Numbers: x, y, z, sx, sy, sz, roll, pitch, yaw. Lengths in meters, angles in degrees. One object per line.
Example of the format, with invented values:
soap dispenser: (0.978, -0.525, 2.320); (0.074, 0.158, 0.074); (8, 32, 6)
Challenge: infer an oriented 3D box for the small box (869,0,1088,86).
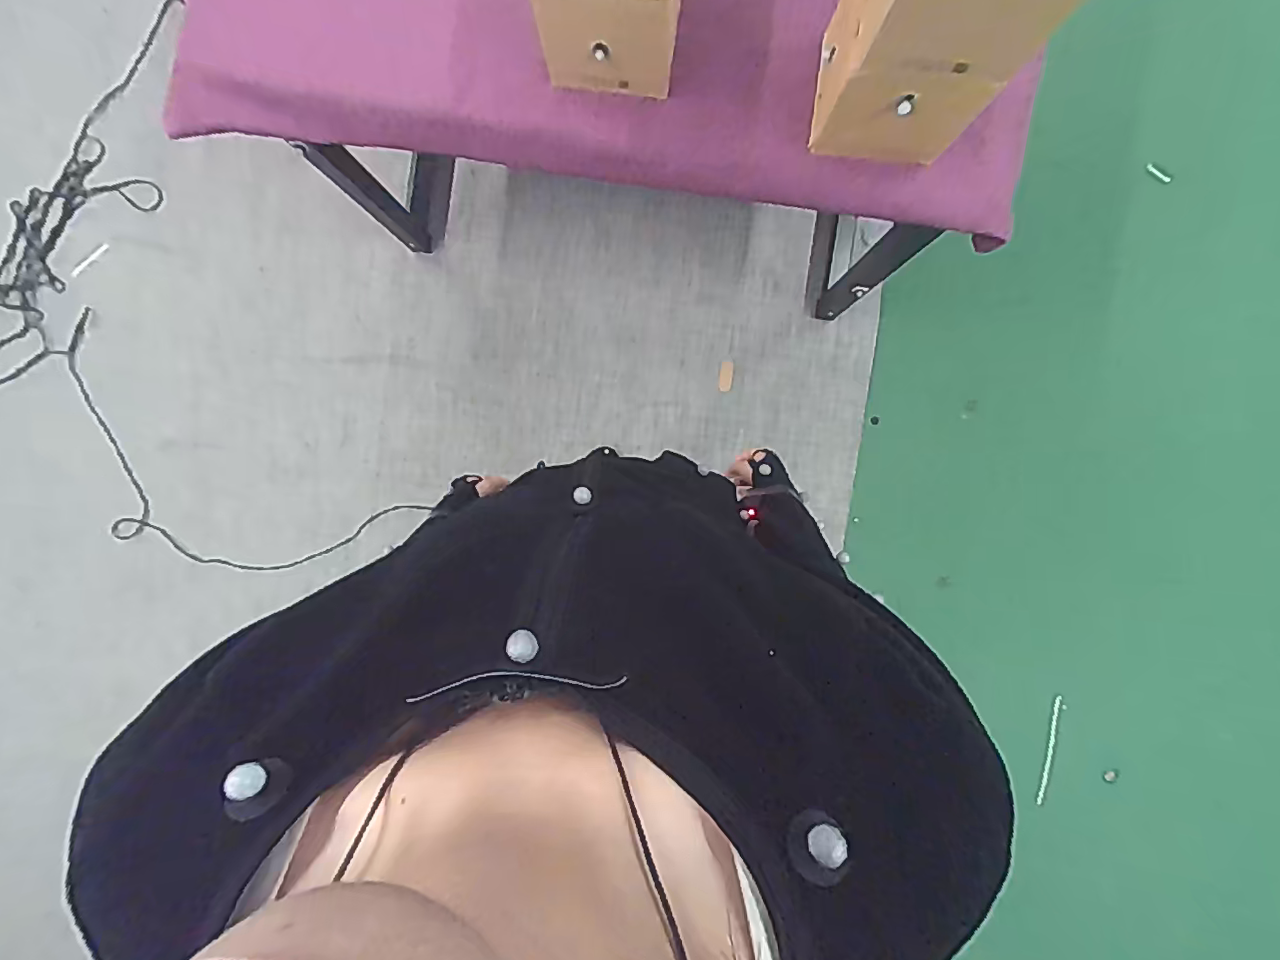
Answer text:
small box: (0.336, -0.527, 0.514); (0.168, 0.176, 0.179); (8, 92, 4)

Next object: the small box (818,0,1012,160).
small box: (0.341, -0.530, 0.678); (0.179, 0.176, 0.168); (7, 93, 4)

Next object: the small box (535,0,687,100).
small box: (-0.026, -0.630, 0.690); (0.168, 0.176, 0.179); (8, 91, 2)
